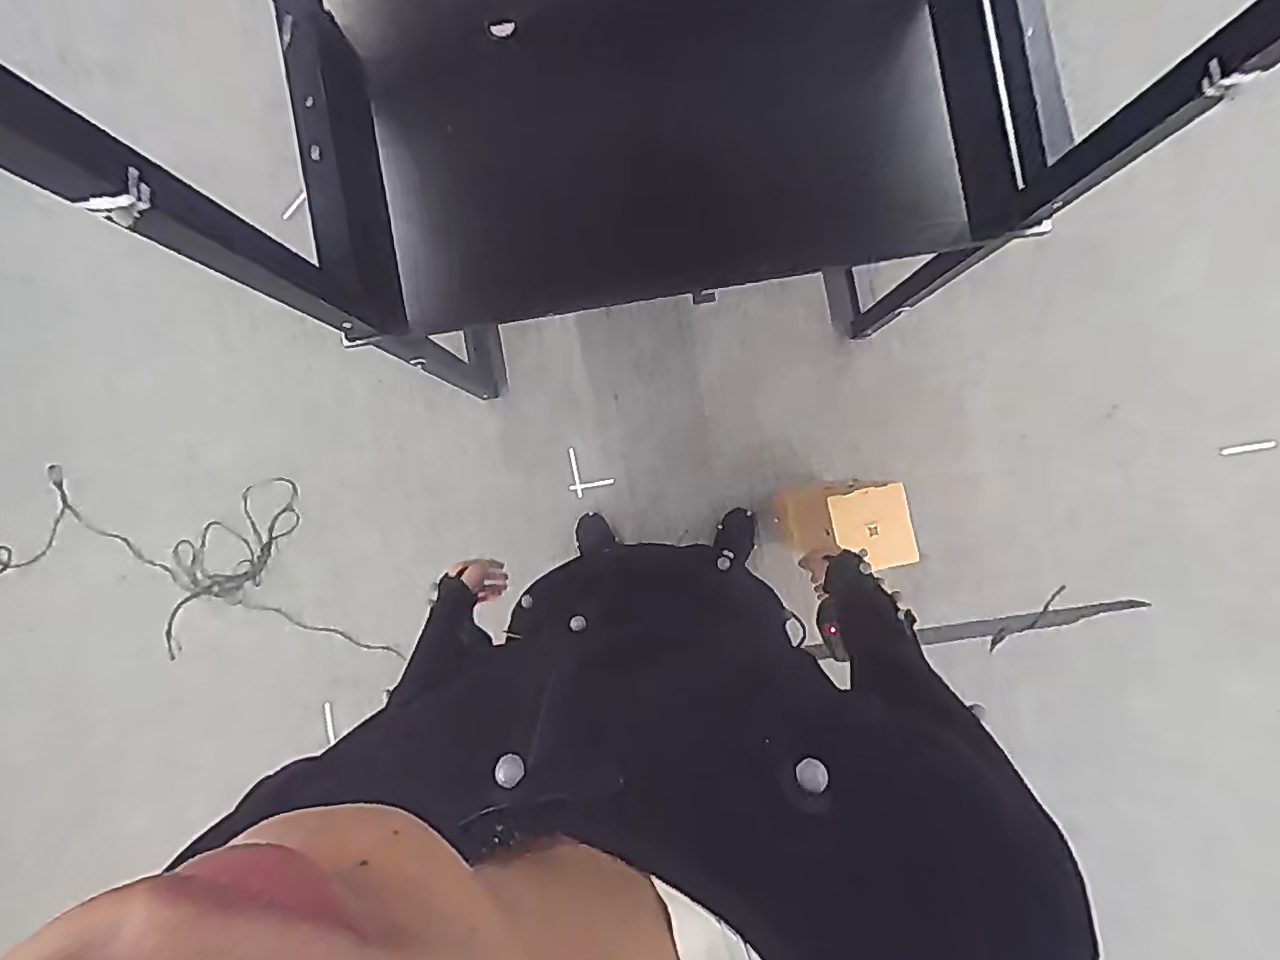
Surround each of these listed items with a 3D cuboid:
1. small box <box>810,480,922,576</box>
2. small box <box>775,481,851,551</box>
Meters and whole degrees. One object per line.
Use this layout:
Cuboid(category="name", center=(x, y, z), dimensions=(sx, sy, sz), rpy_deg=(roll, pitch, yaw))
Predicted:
Cuboid(category="small box", center=(0.498, 0.101, 1.212), dimensions=(0.168, 0.176, 0.179), rpy_deg=(-13, 90, 2))
Cuboid(category="small box", center=(0.501, 0.096, 1.539), dimensions=(0.179, 0.176, 0.168), rpy_deg=(-11, 89, 2))
